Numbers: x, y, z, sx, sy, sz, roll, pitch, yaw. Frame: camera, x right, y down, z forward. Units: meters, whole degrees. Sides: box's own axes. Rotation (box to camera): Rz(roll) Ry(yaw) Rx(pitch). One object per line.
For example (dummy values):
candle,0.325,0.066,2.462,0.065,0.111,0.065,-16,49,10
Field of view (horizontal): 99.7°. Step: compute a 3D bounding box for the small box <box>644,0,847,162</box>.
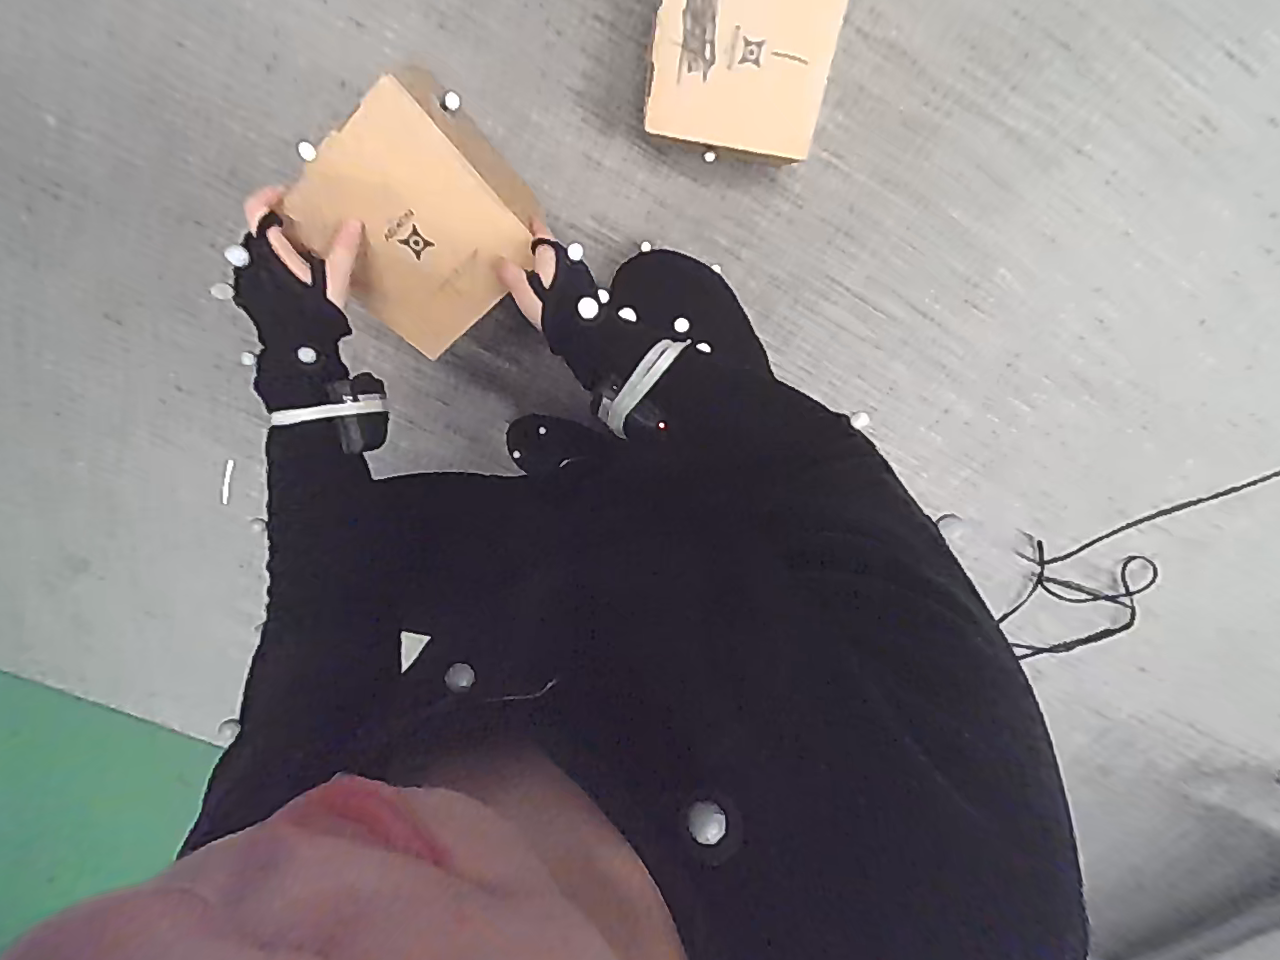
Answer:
small box,0.108,-0.460,0.598,0.179,0.176,0.168,10,119,0
